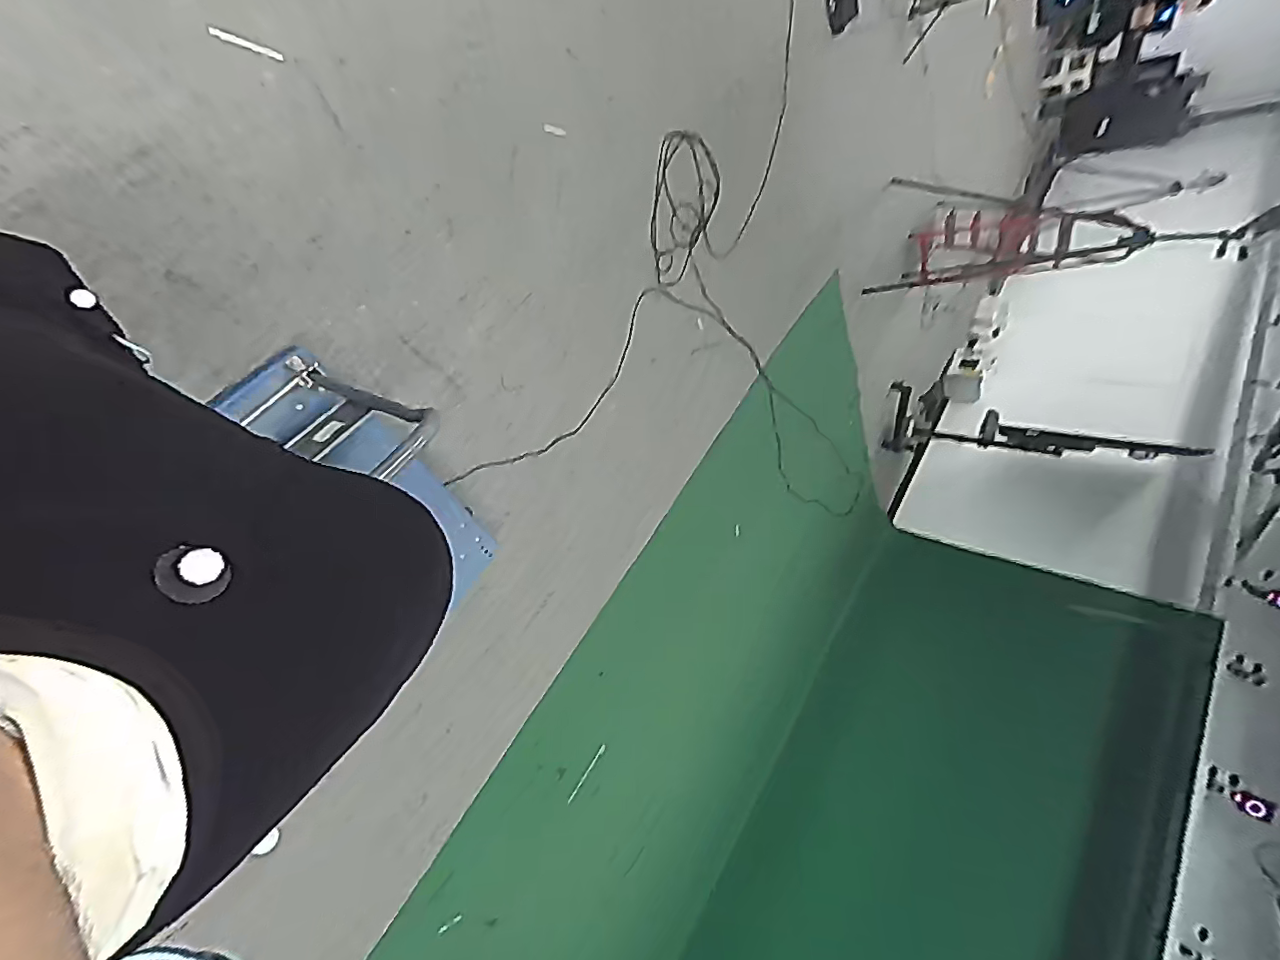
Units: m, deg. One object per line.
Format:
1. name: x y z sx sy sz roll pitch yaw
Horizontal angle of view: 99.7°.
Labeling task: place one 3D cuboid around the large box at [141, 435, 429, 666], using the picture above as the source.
1. large box: -0.791 0.157 1.241 0.320 0.320 0.408 -54 138 -21
